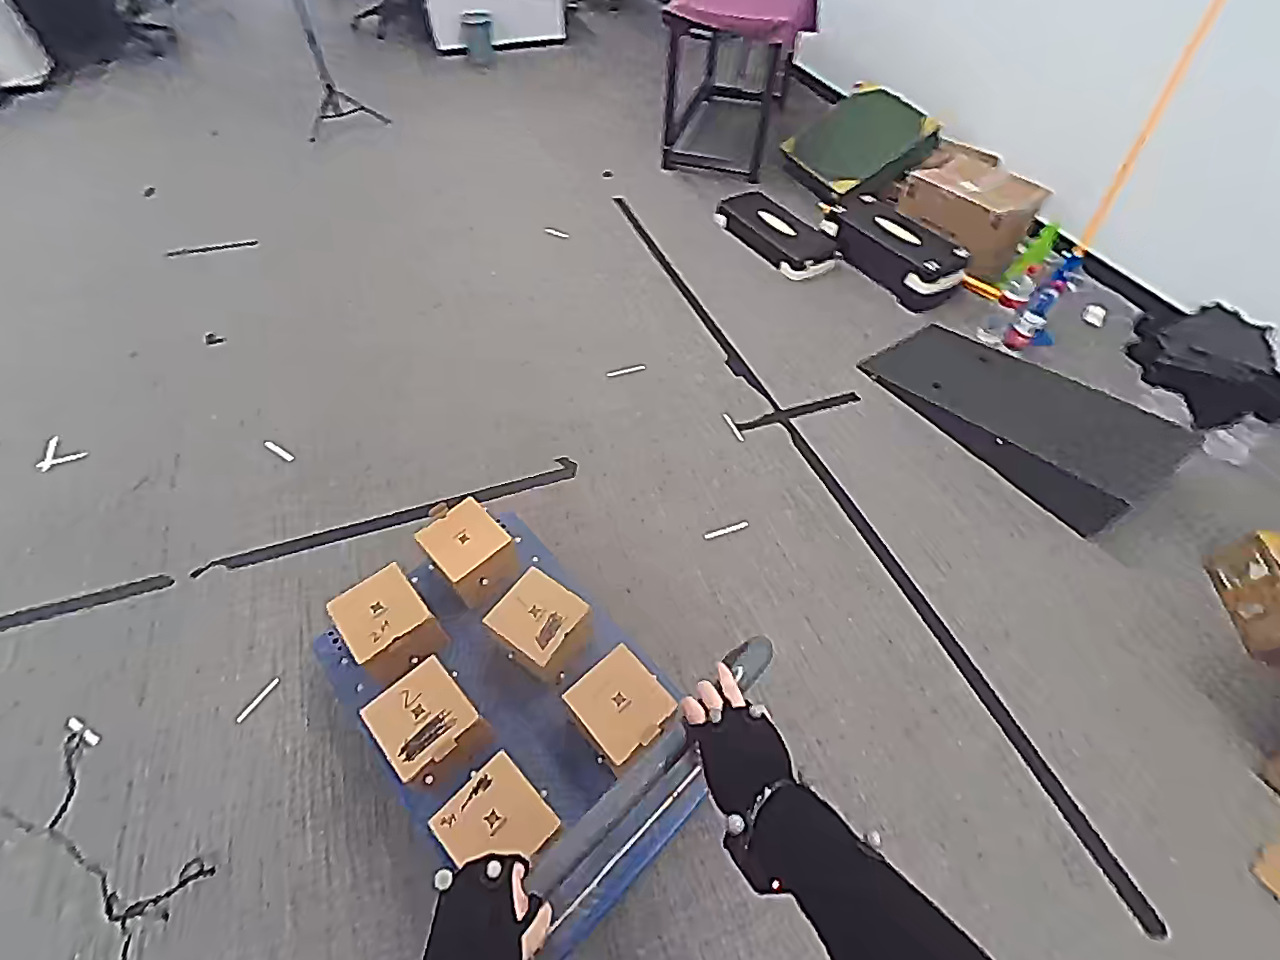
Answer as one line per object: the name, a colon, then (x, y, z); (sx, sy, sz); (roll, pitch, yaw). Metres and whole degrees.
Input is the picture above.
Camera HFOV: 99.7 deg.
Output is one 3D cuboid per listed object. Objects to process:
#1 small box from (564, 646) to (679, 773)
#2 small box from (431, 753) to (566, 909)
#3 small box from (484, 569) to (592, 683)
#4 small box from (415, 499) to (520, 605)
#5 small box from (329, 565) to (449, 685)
small box: (-0.039, 0.491, 1.143); (0.168, 0.176, 0.179); (-36, 62, -25)
small box: (-0.253, 0.653, 1.013); (0.179, 0.176, 0.168); (38, 60, 23)
small box: (-0.225, 0.343, 1.244); (0.179, 0.176, 0.168); (30, 58, 20)
small box: (-0.423, 0.189, 1.352); (0.179, 0.176, 0.168); (39, 61, 23)
small box: (-0.567, 0.334, 1.236); (0.168, 0.176, 0.179); (-35, 63, -24)
